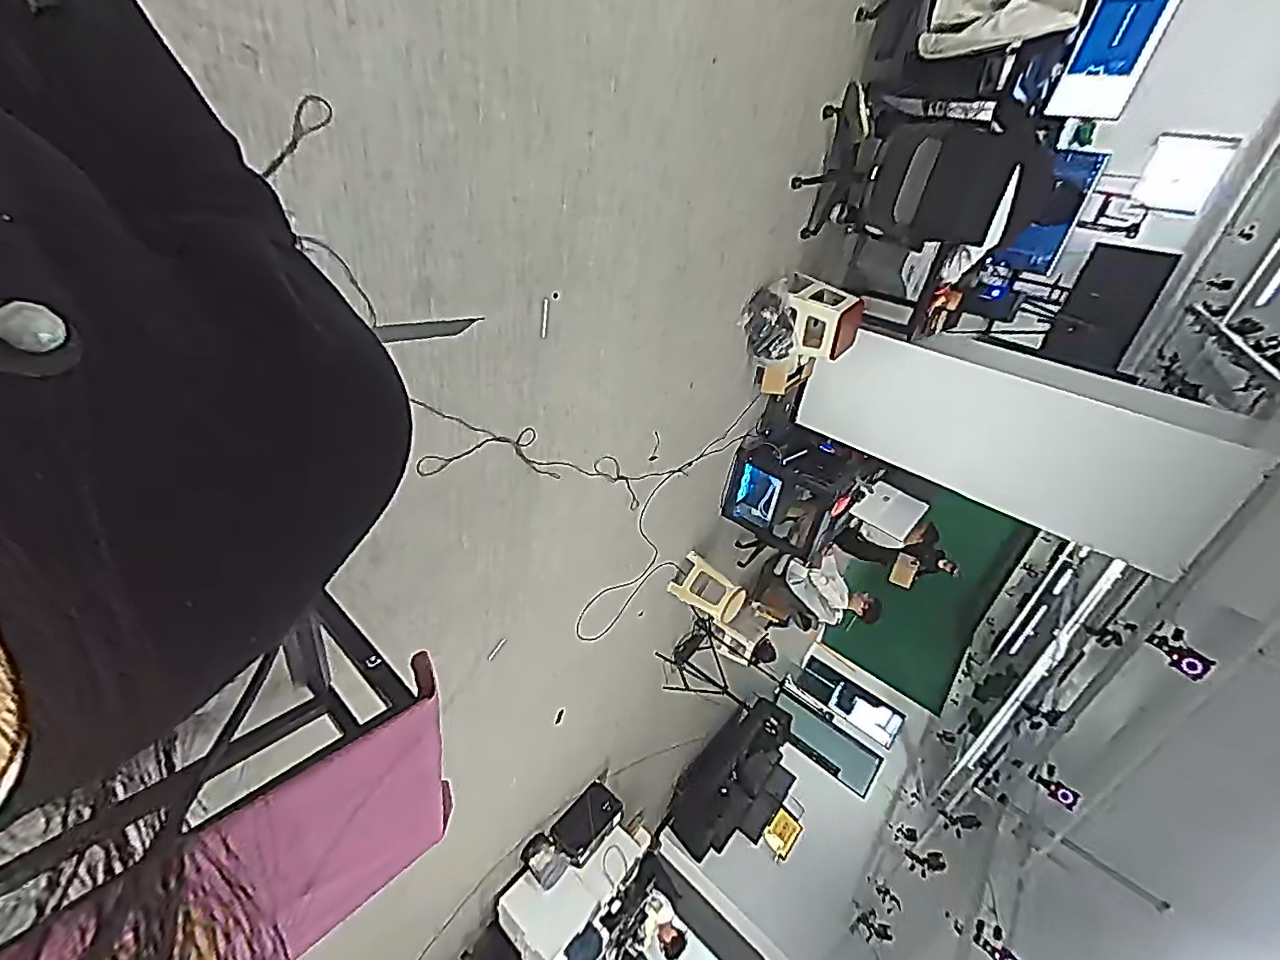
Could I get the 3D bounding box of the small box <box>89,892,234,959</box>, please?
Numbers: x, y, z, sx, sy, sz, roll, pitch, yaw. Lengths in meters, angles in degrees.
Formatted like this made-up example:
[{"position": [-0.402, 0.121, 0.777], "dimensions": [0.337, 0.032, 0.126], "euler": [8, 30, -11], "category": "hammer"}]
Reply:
[{"position": [-0.797, 0.859, 0.915], "dimensions": [0.168, 0.176, 0.179], "euler": [-23, 135, -47], "category": "small box"}]
